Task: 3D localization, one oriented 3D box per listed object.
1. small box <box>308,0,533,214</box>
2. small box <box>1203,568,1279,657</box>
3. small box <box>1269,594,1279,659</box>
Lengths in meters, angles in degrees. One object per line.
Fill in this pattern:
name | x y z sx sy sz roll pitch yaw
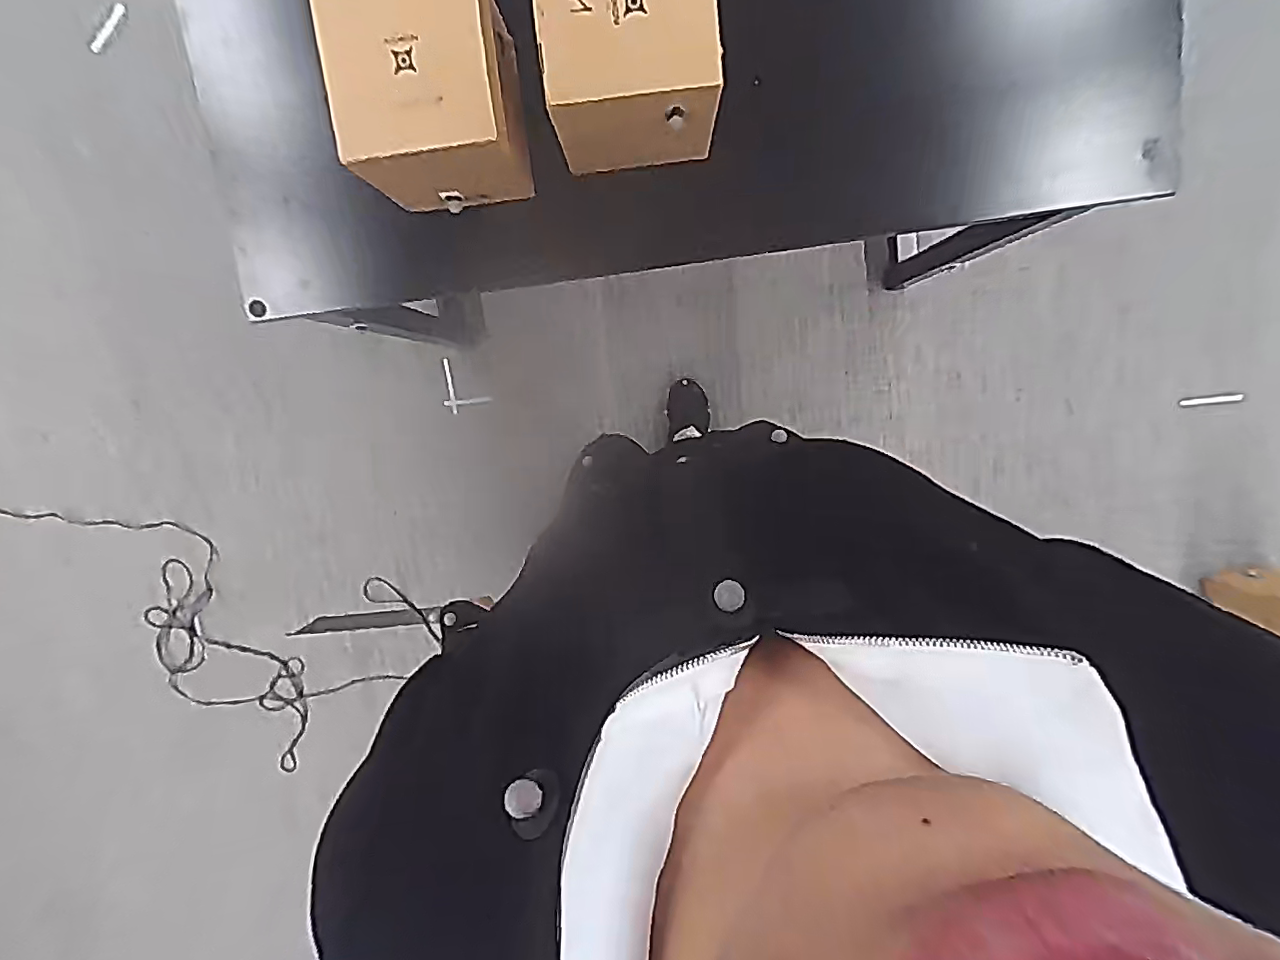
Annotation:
small box | -0.227 -0.423 0.601 0.168 0.176 0.179 -7 100 4
small box | 1.635 0.340 1.410 0.179 0.176 0.168 -9 99 4
small box | 1.625 0.362 1.246 0.168 0.176 0.179 -9 100 3
